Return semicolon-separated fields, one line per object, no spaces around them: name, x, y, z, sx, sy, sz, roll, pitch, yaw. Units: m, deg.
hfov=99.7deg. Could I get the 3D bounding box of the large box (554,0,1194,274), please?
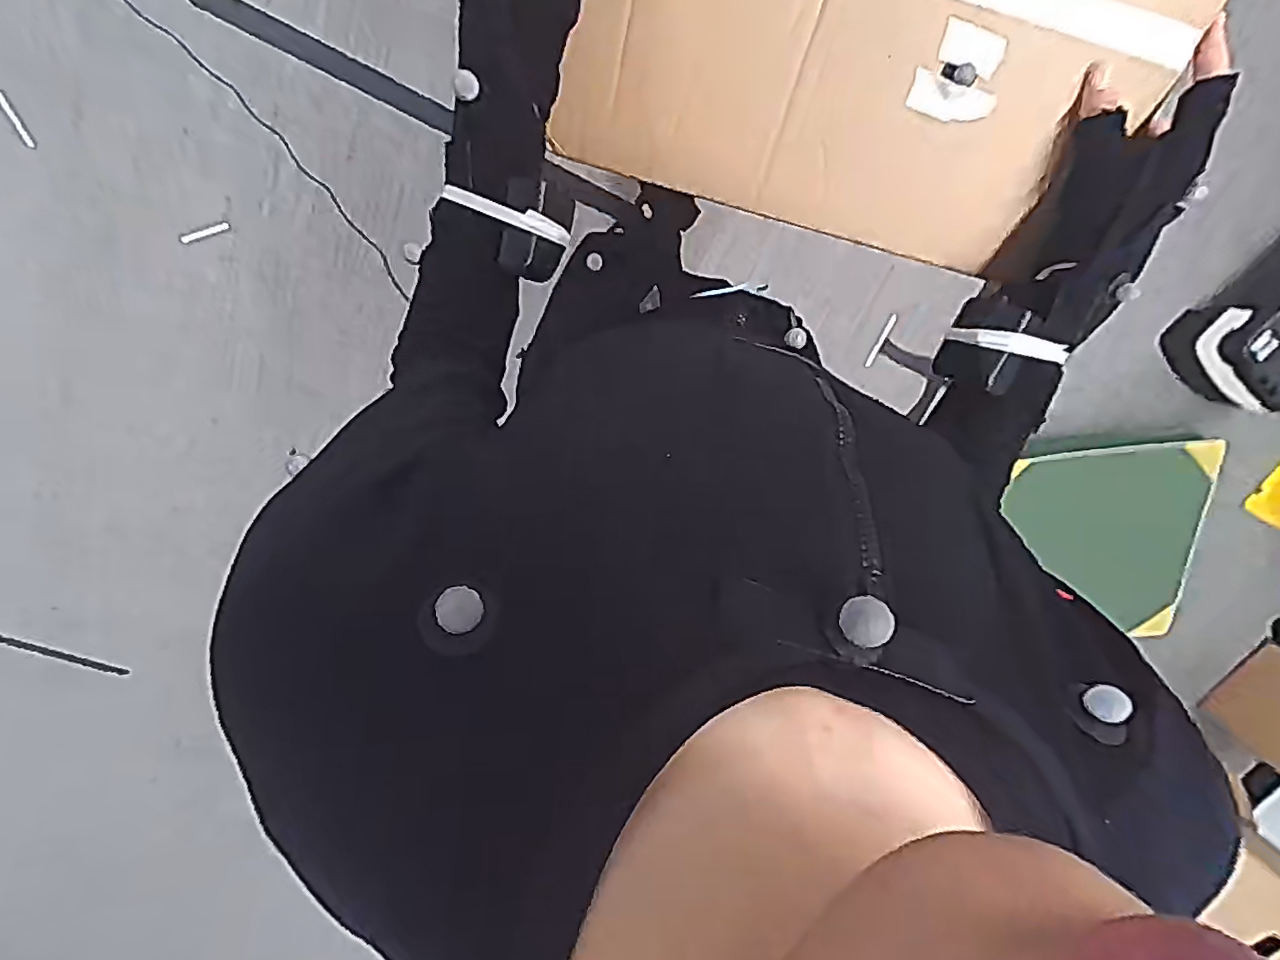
large box;0.163;-0.418;0.469;0.408;0.320;0.320;13;126;-6
